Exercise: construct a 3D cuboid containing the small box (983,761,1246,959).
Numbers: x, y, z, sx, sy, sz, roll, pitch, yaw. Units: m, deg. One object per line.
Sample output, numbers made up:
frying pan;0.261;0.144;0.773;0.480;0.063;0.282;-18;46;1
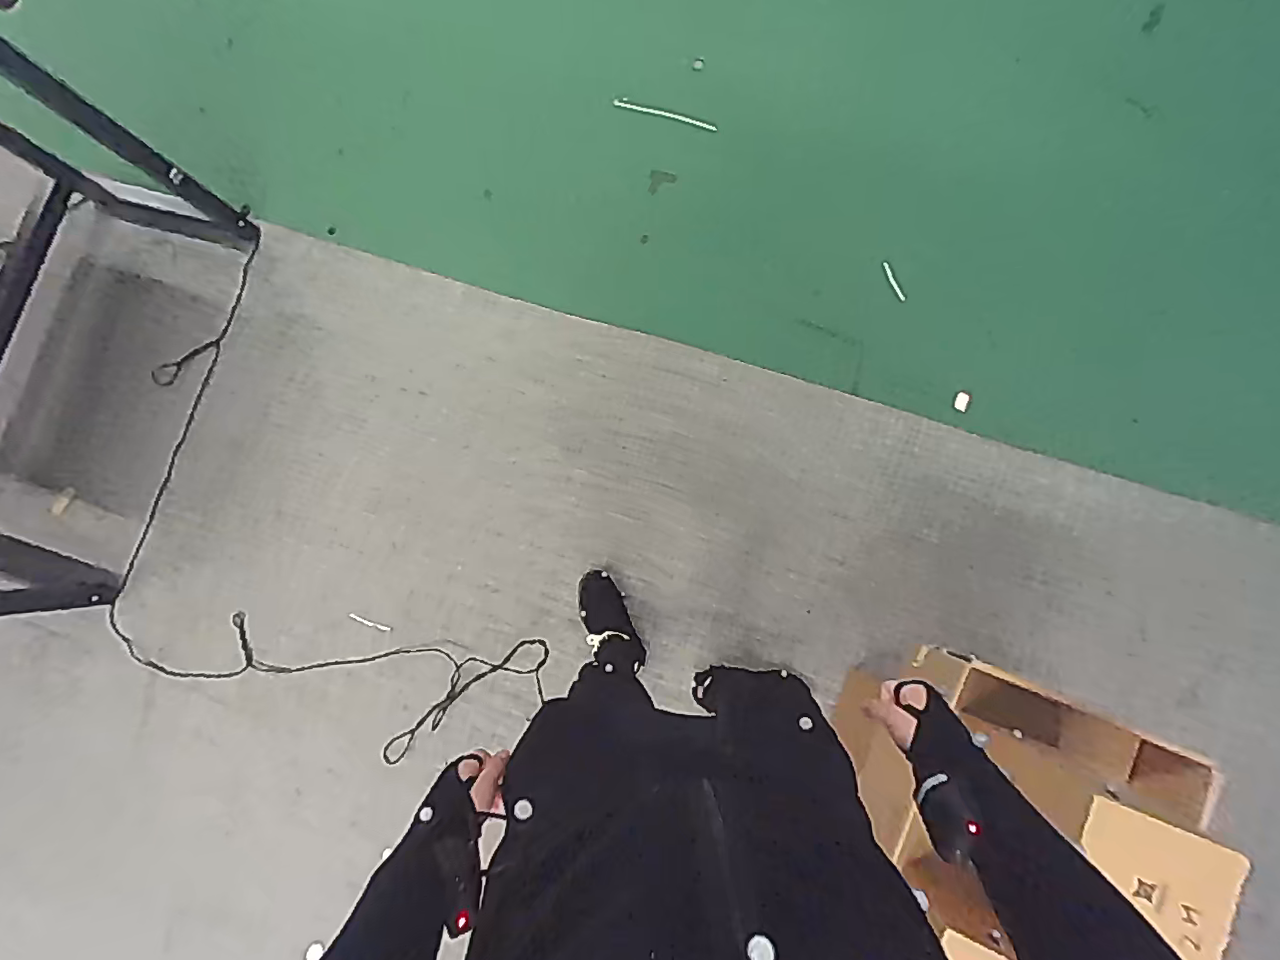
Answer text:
small box;0.592;0.498;0.703;0.179;0.176;0.168;22;86;8
